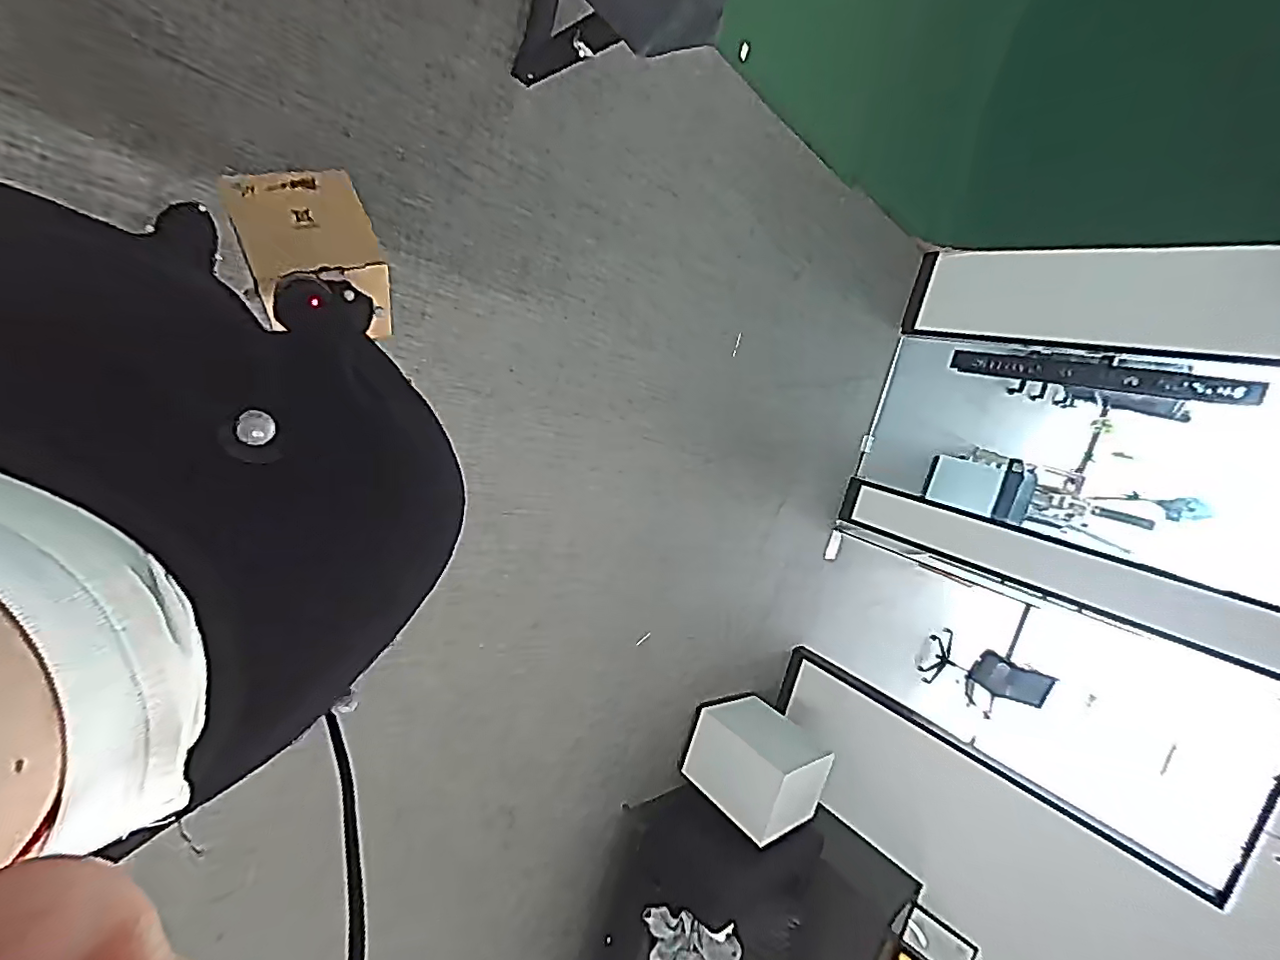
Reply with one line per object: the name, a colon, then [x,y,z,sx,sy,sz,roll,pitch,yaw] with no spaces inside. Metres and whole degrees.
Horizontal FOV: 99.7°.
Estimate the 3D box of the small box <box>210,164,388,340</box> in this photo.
small box: [-0.496,-0.332,0.814,0.168,0.176,0.179,-24,80,-28]
